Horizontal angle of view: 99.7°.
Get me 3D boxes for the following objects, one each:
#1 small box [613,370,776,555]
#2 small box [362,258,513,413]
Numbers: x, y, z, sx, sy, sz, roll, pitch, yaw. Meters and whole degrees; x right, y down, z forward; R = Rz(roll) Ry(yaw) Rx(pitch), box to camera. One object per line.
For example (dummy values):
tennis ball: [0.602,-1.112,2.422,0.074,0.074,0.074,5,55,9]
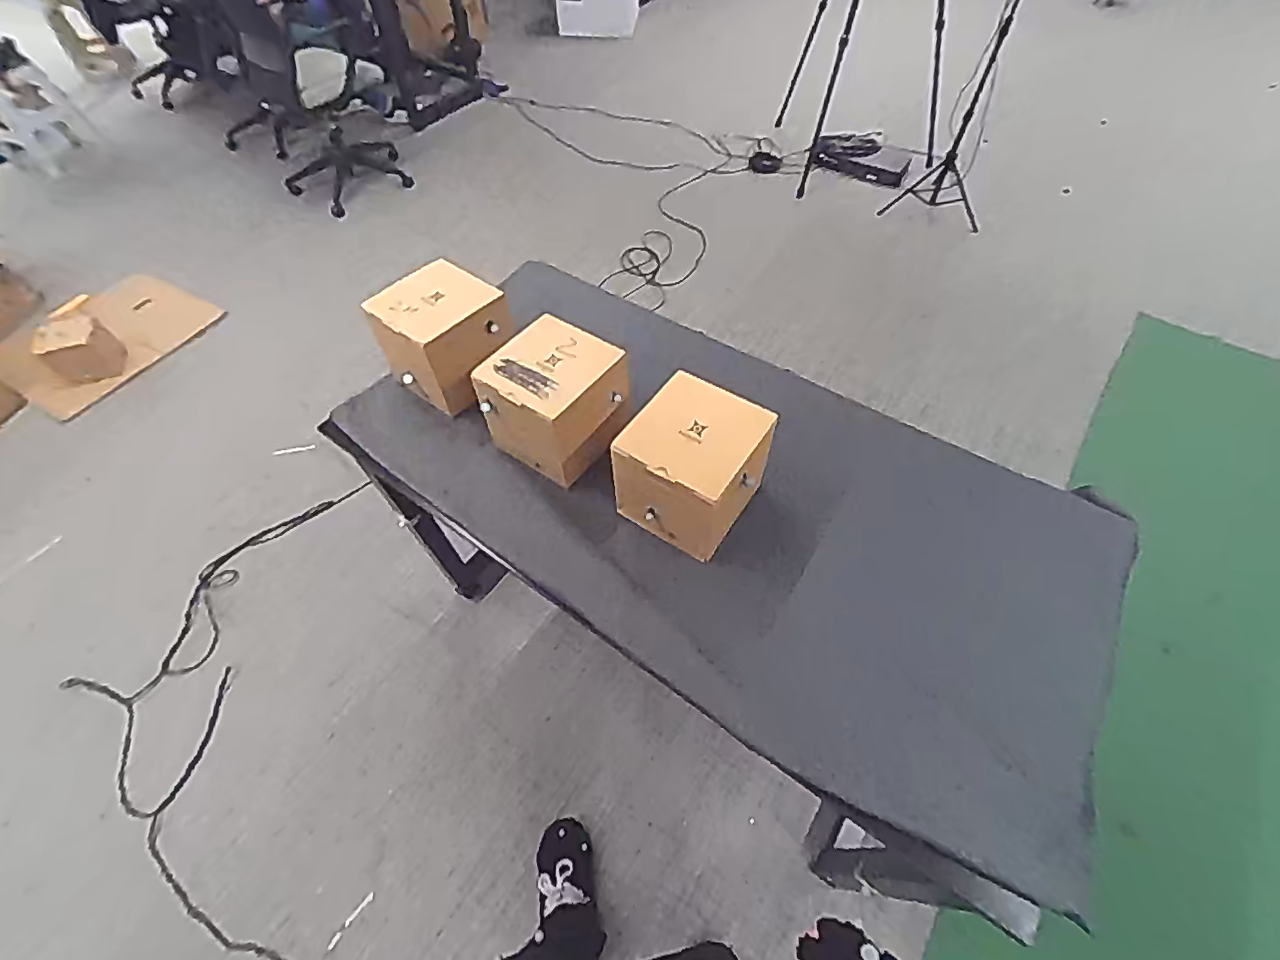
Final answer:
small box: [0.075,-0.023,0.802,0.168,0.176,0.179,29,61,19]
small box: [-0.346,-0.256,0.967,0.168,0.176,0.179,32,61,21]
